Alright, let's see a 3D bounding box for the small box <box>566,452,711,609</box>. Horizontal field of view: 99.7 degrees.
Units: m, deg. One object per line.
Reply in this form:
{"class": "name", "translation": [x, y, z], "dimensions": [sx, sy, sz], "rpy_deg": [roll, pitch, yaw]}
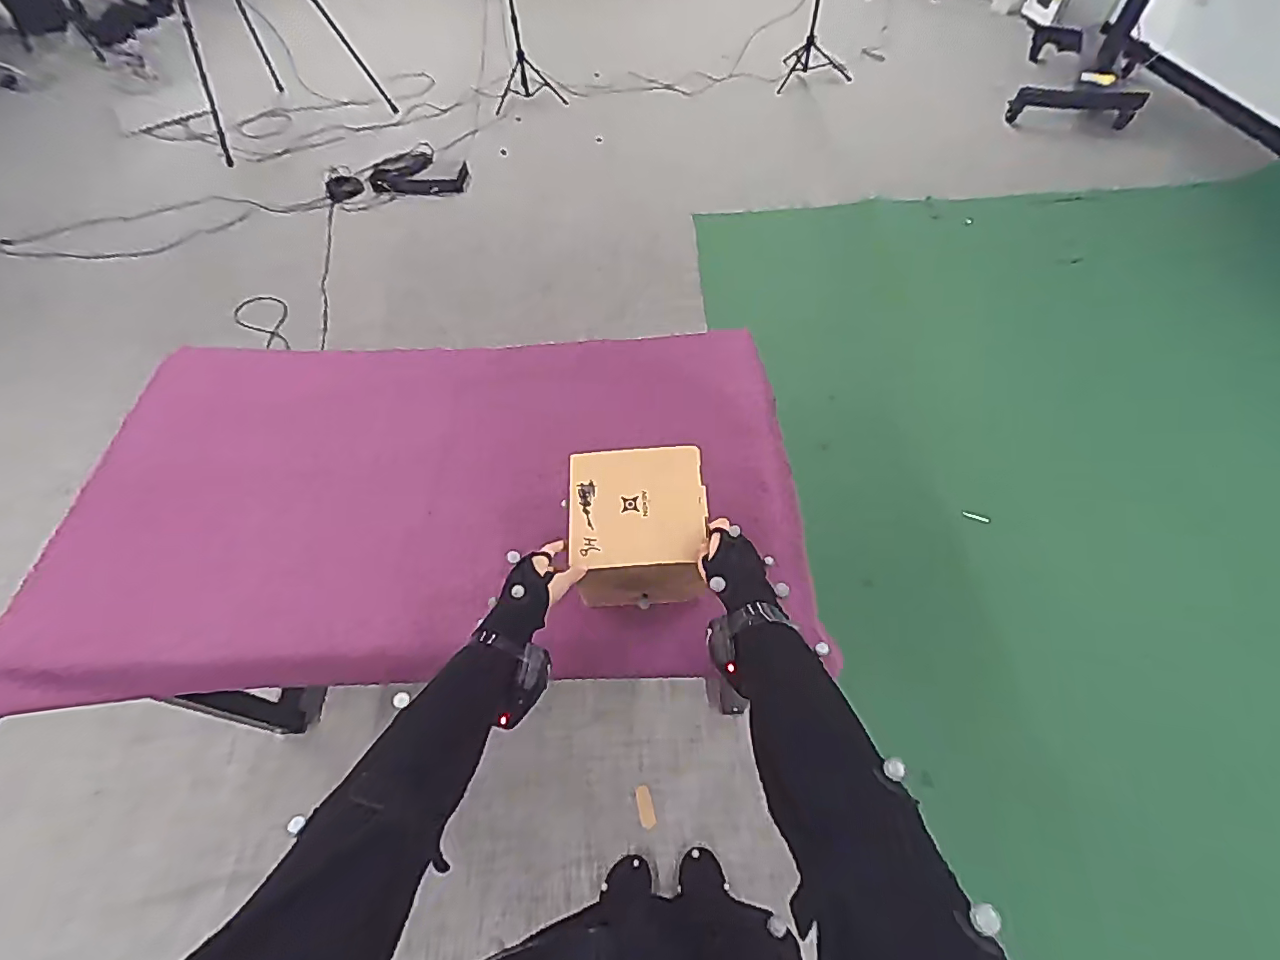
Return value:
{"class": "small box", "translation": [-0.001, 0.076, 0.756], "dimensions": [0.179, 0.176, 0.168], "rpy_deg": [-3, 59, 1]}
